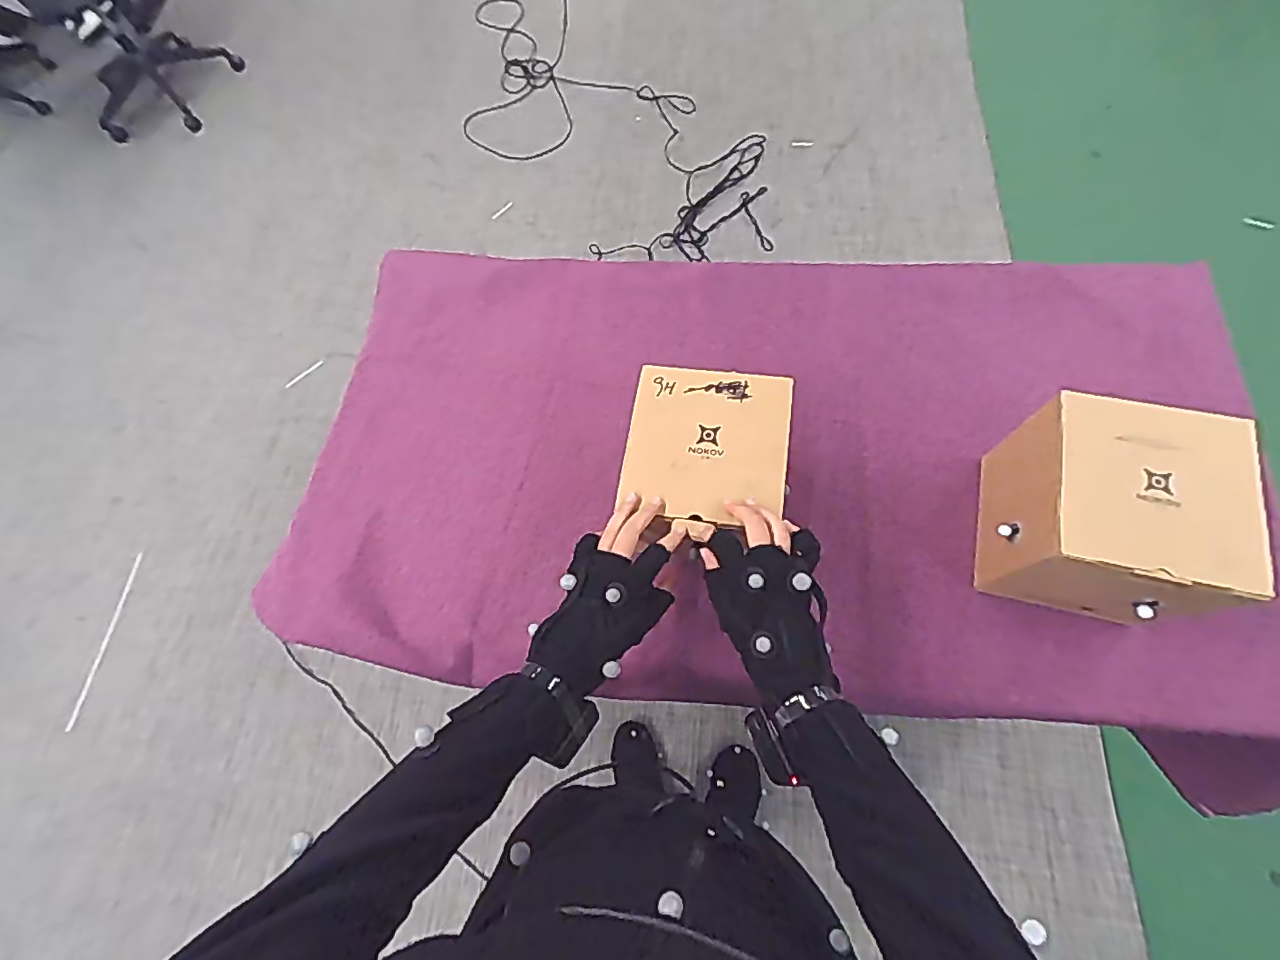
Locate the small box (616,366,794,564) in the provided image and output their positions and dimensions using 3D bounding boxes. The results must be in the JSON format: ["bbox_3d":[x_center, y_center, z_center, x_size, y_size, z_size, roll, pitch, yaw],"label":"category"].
[{"bbox_3d":[0.078,-0.008,0.631,0.168,0.176,0.179,7,70,9],"label":"small box"}]

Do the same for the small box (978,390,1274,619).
[{"bbox_3d":[0.480,0.035,0.565,0.168,0.176,0.179,13,70,11],"label":"small box"}]
